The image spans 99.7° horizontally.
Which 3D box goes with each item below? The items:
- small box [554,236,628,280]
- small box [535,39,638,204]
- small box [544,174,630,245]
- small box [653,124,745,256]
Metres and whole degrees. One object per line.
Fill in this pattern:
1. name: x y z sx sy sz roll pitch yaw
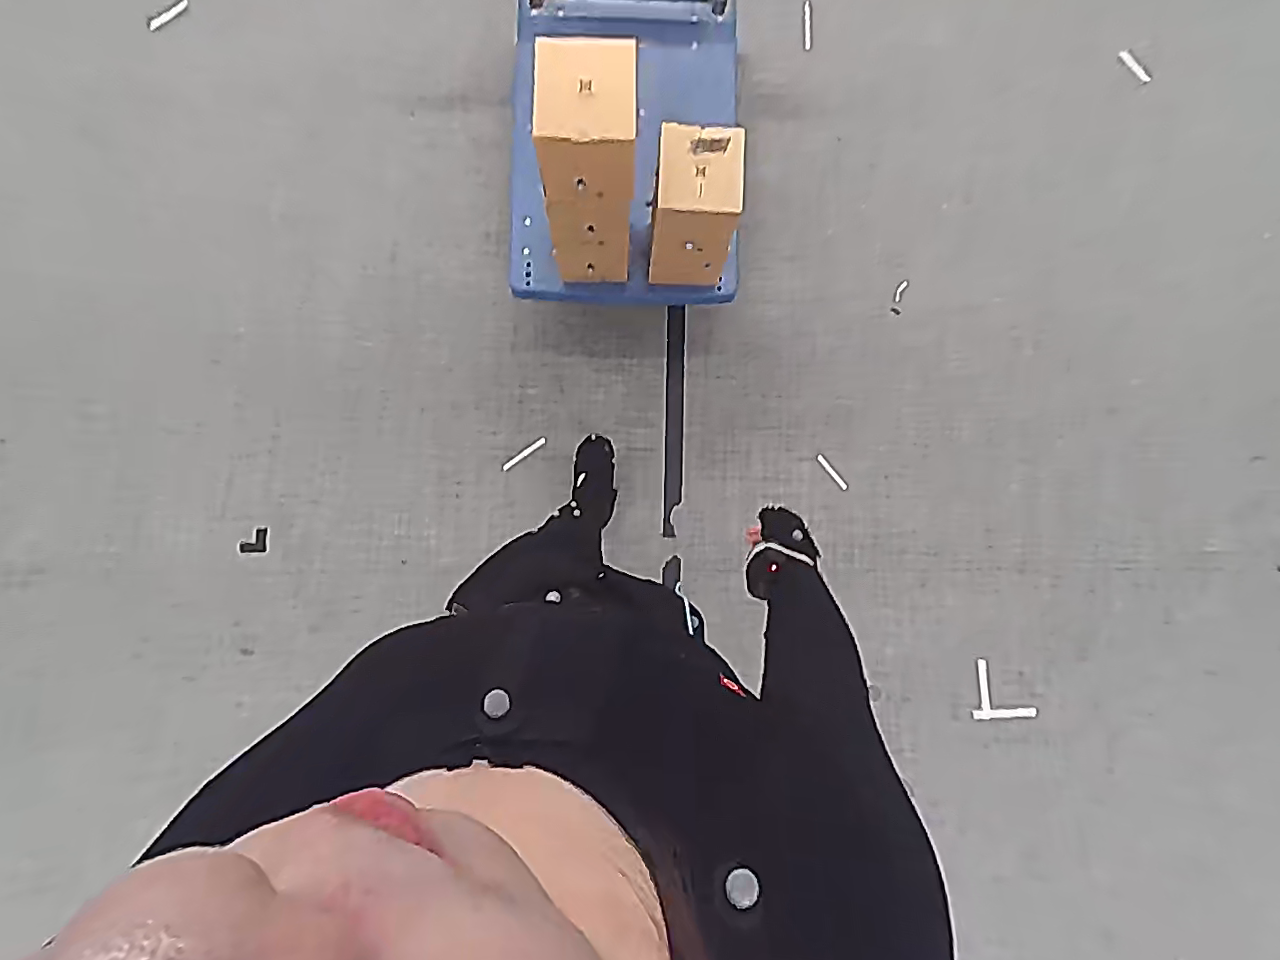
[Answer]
1. small box: -0.110 -0.589 1.277 0.168 0.176 0.179 0 84 -3
2. small box: -0.089 -0.621 0.951 0.168 0.176 0.179 0 85 -2
3. small box: -0.105 -0.602 1.113 0.168 0.176 0.179 -2 86 -3
4. small box: 0.116 -0.593 1.120 0.168 0.176 0.179 3 85 -2
